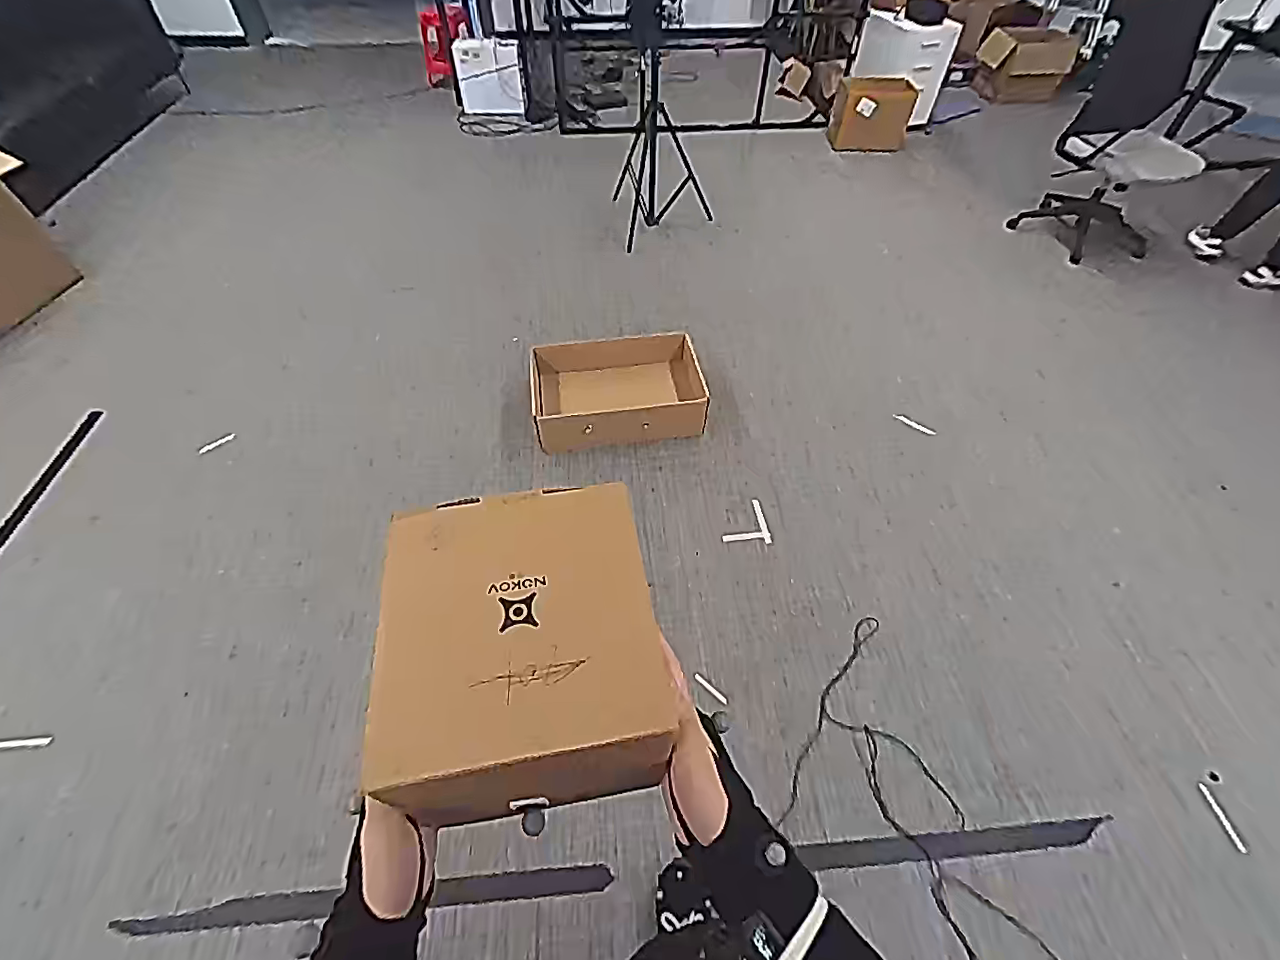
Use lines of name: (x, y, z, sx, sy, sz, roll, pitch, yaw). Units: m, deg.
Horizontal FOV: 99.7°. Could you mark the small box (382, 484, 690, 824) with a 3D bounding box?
small box: (-0.071, 0.129, 0.399, 0.168, 0.176, 0.179, -8, 53, -9)
